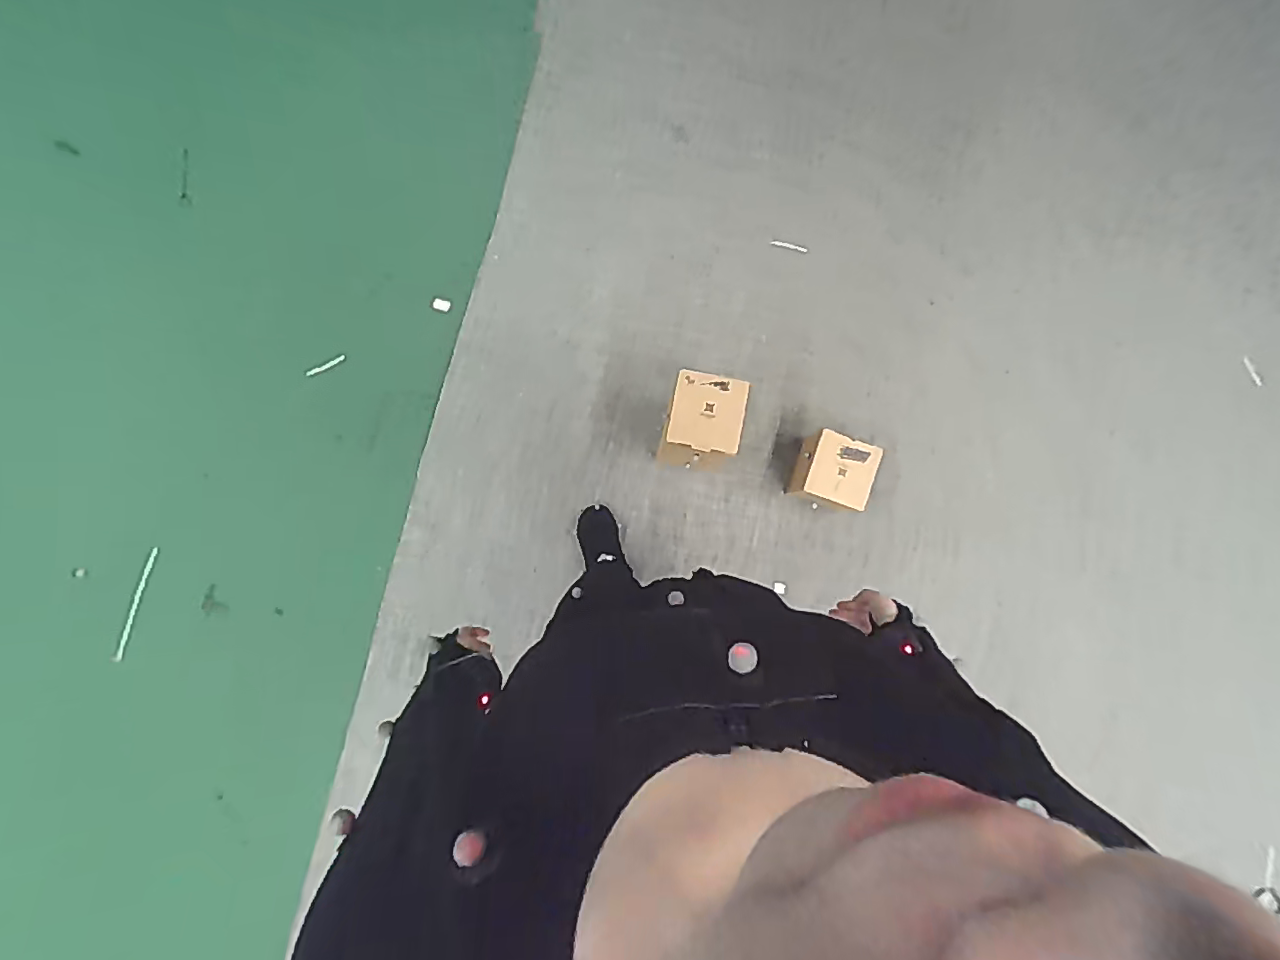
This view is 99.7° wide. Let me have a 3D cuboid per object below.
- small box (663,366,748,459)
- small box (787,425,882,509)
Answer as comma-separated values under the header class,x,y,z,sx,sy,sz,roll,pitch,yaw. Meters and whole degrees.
class,x,y,z,sx,sy,sz,roll,pitch,yaw
small box,0.151,-0.153,1.301,0.168,0.176,0.179,11,85,0
small box,0.516,-0.029,1.462,0.168,0.176,0.179,20,86,1
